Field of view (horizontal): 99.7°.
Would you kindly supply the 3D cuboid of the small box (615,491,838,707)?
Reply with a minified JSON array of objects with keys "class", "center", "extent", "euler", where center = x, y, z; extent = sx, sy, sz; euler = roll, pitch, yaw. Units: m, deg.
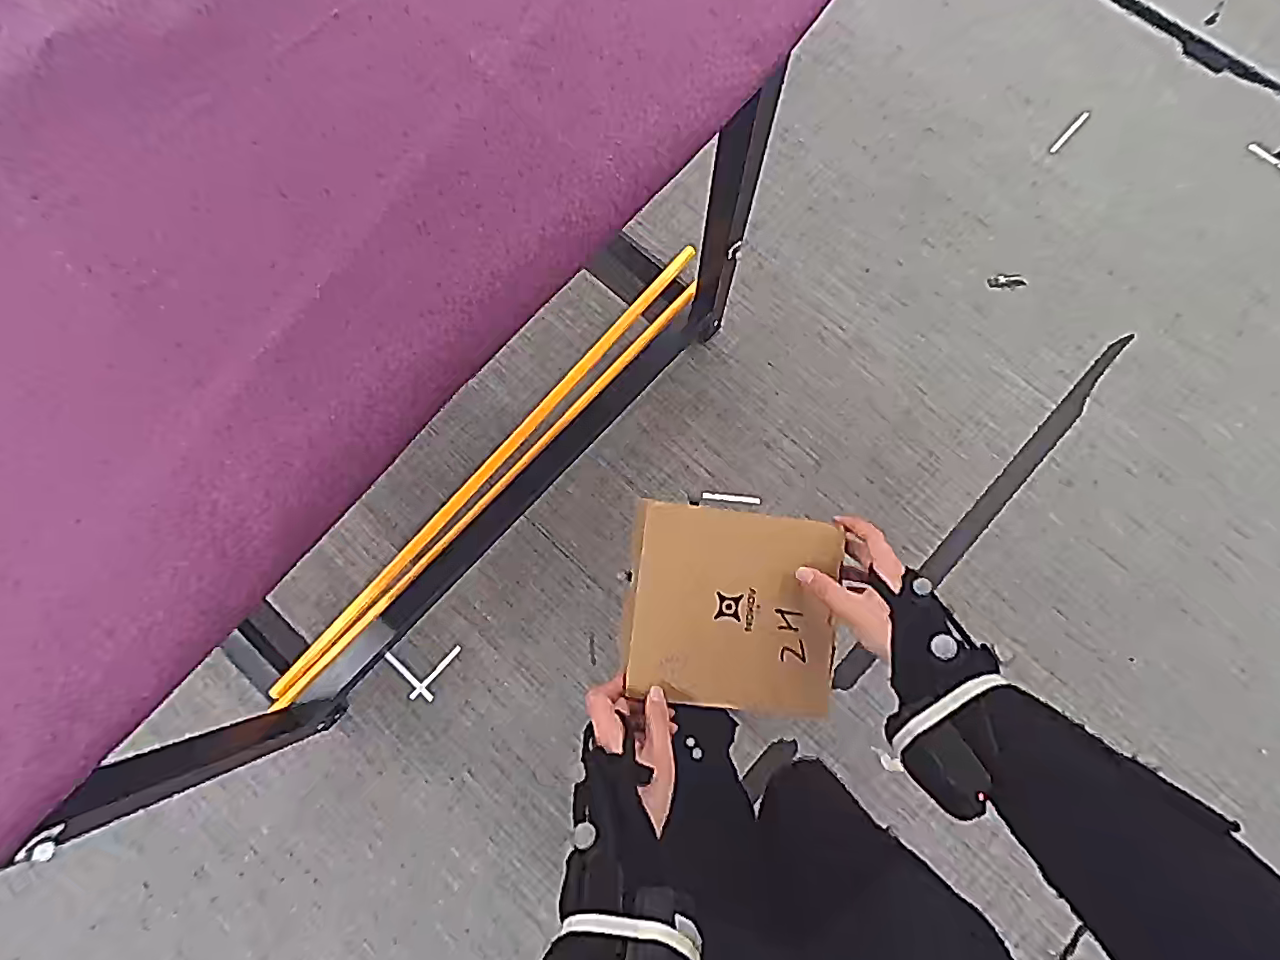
[{"class":"small box","center":[0.071,0.105,0.538],"extent":[0.179,0.176,0.168],"euler":[7,87,-4]}]
